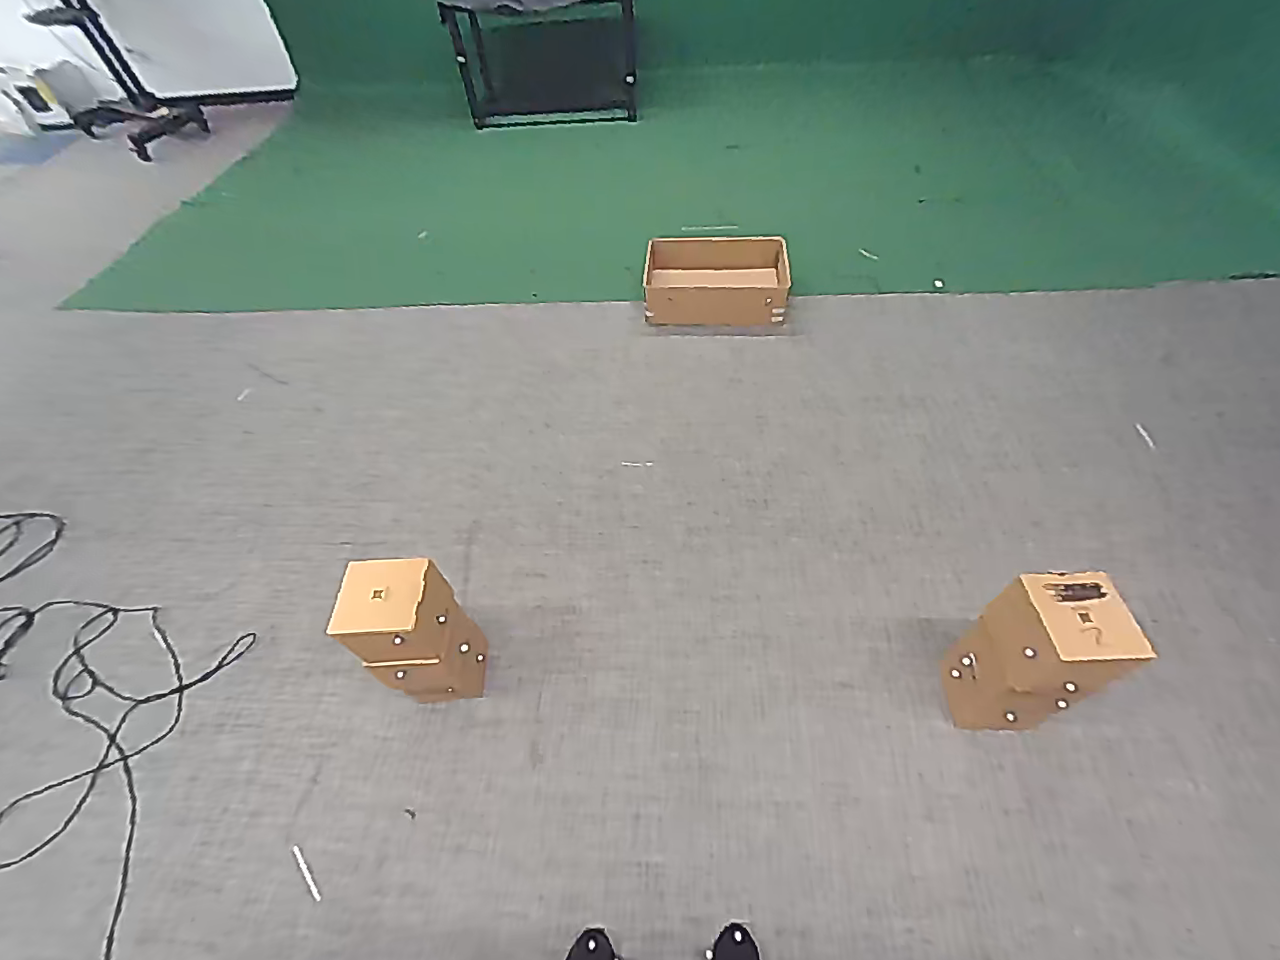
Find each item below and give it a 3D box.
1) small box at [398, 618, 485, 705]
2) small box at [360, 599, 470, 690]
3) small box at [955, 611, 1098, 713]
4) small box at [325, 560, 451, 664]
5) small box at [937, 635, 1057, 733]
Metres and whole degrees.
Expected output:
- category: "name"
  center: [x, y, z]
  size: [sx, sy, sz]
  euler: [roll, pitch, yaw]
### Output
- category: "small box"
  center: [-0.522, 0.483, 1.434]
  size: [0.179, 0.176, 0.168]
  euler: [-7, 51, 0]
- category: "small box"
  center: [-0.528, 0.395, 1.295]
  size: [0.179, 0.176, 0.168]
  euler: [-3, 52, 1]
- category: "small box"
  center: [0.836, 0.403, 1.191]
  size: [0.179, 0.176, 0.168]
  euler: [0, 50, 5]
- category: "small box"
  center: [-0.533, 0.289, 1.171]
  size: [0.179, 0.176, 0.168]
  euler: [-4, 51, 0]
- category: "small box"
  center: [0.856, 0.499, 1.321]
  size: [0.168, 0.176, 0.179]
  euler: [0, 51, 5]
